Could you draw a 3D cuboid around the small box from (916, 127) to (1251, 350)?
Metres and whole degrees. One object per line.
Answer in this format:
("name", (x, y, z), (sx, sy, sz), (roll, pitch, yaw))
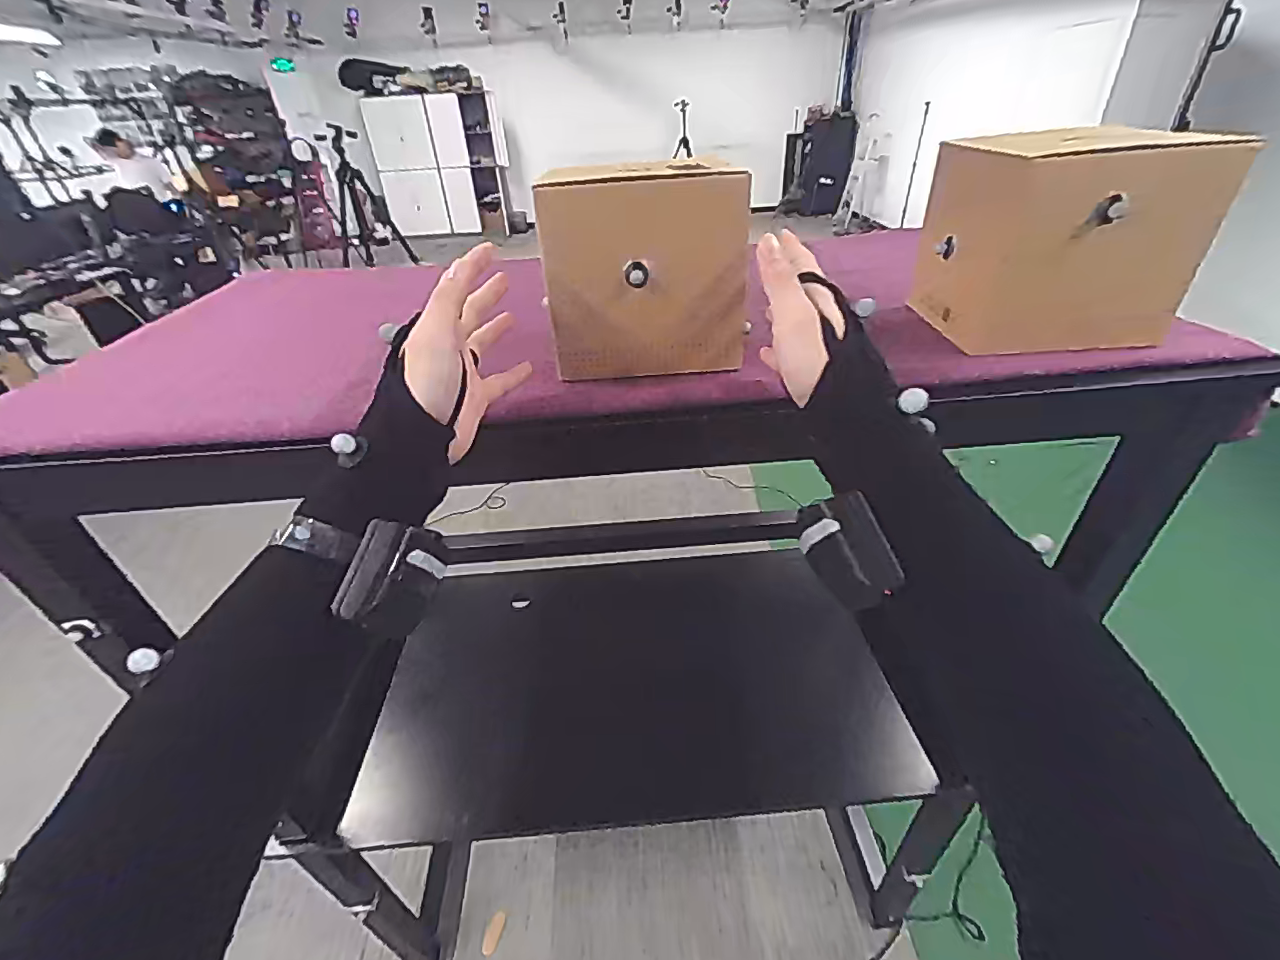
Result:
("small box", (0.390, -0.234, 0.526), (0.179, 0.176, 0.168), (-2, 36, 4))

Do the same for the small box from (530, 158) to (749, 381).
("small box", (0.002, -0.209, 0.534), (0.179, 0.176, 0.168), (-5, 33, 0))
